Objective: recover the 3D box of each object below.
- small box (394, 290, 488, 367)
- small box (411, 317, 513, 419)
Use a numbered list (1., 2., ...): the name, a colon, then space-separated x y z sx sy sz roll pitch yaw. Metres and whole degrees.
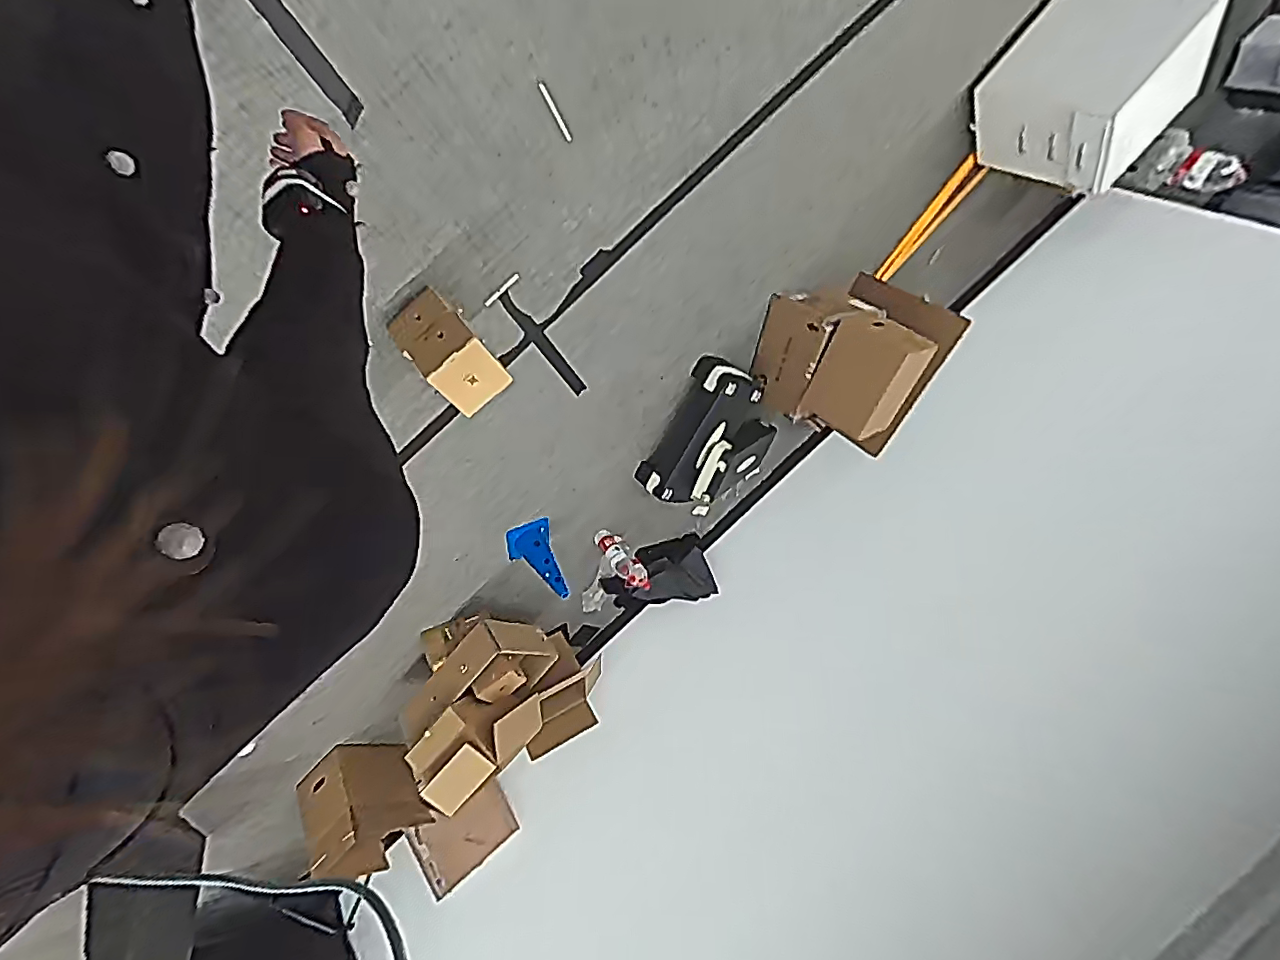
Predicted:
1. small box: -0.576 -0.404 1.548 0.179 0.176 0.168 -44 143 1
2. small box: -0.480 -0.305 1.460 0.168 0.176 0.179 -41 142 -2
